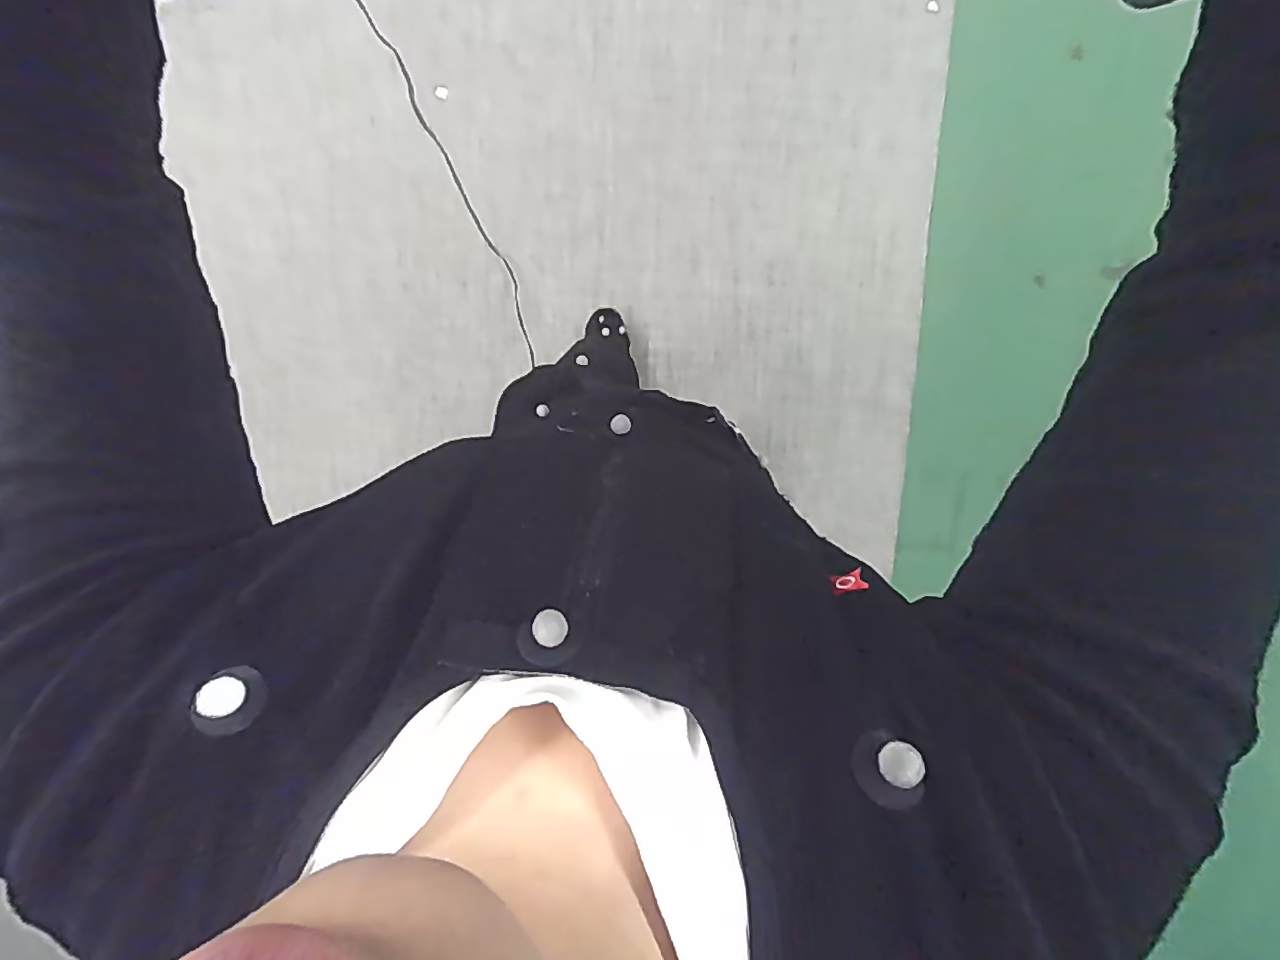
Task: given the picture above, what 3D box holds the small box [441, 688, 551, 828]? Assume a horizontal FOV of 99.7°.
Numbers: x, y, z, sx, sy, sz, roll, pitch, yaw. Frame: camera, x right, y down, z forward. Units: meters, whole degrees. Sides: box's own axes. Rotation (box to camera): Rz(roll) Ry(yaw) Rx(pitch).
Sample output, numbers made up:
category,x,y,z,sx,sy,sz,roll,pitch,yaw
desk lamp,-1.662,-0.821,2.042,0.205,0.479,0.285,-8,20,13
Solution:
category,x,y,z,sx,sy,sz,roll,pitch,yaw
small box,-0.275,0.532,1.058,0.168,0.176,0.179,4,100,5
